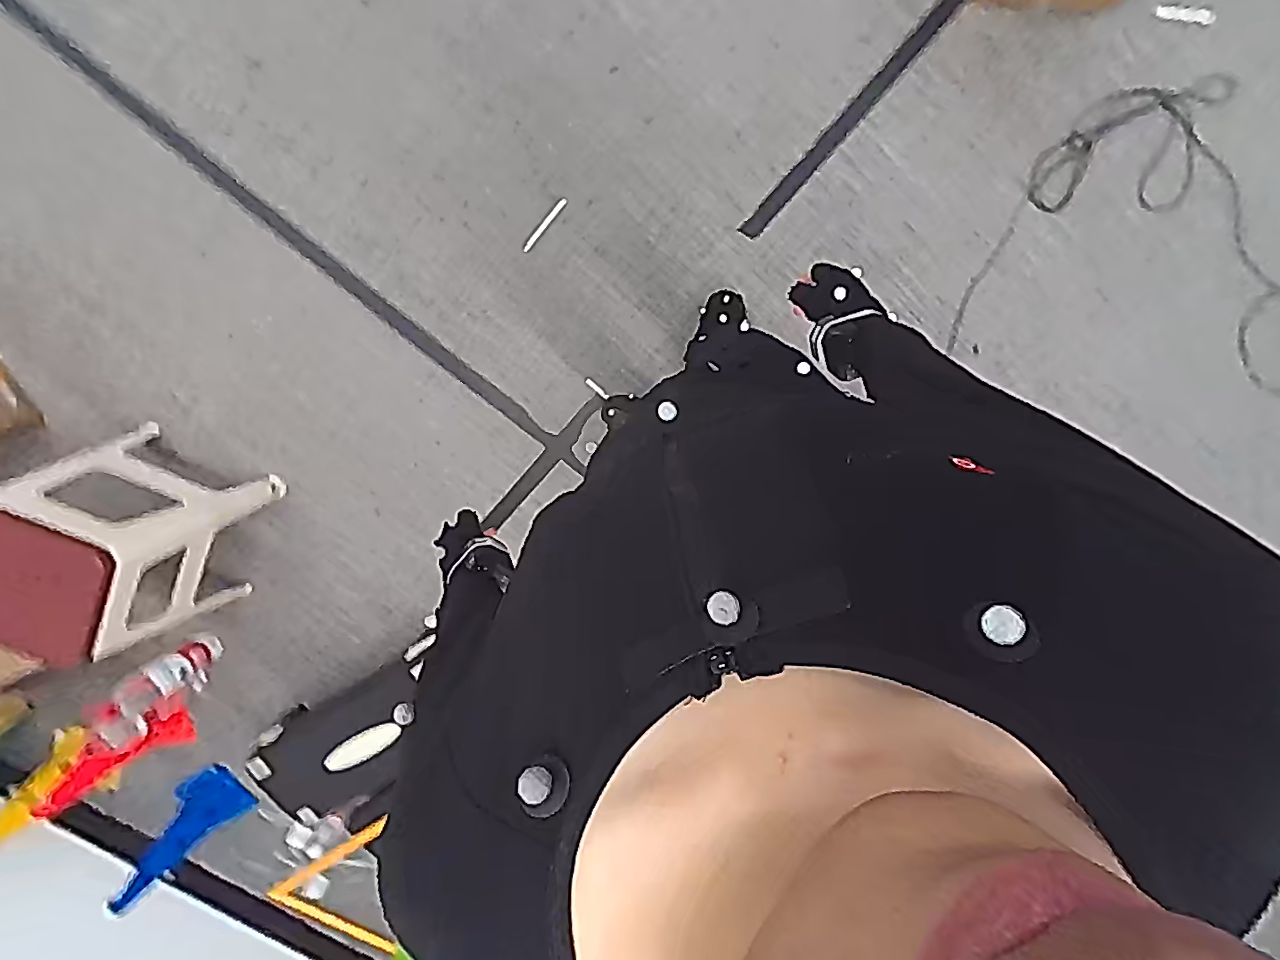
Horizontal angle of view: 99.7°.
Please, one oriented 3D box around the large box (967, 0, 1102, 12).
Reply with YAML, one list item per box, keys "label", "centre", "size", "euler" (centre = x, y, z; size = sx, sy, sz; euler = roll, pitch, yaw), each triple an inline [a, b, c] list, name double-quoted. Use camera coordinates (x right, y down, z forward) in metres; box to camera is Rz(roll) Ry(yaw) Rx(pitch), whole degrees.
- label: "large box"
  centre: [0.901, -1.240, 1.049]
  size: [0.320, 0.320, 0.408]
  euler: [3, 106, -2]
